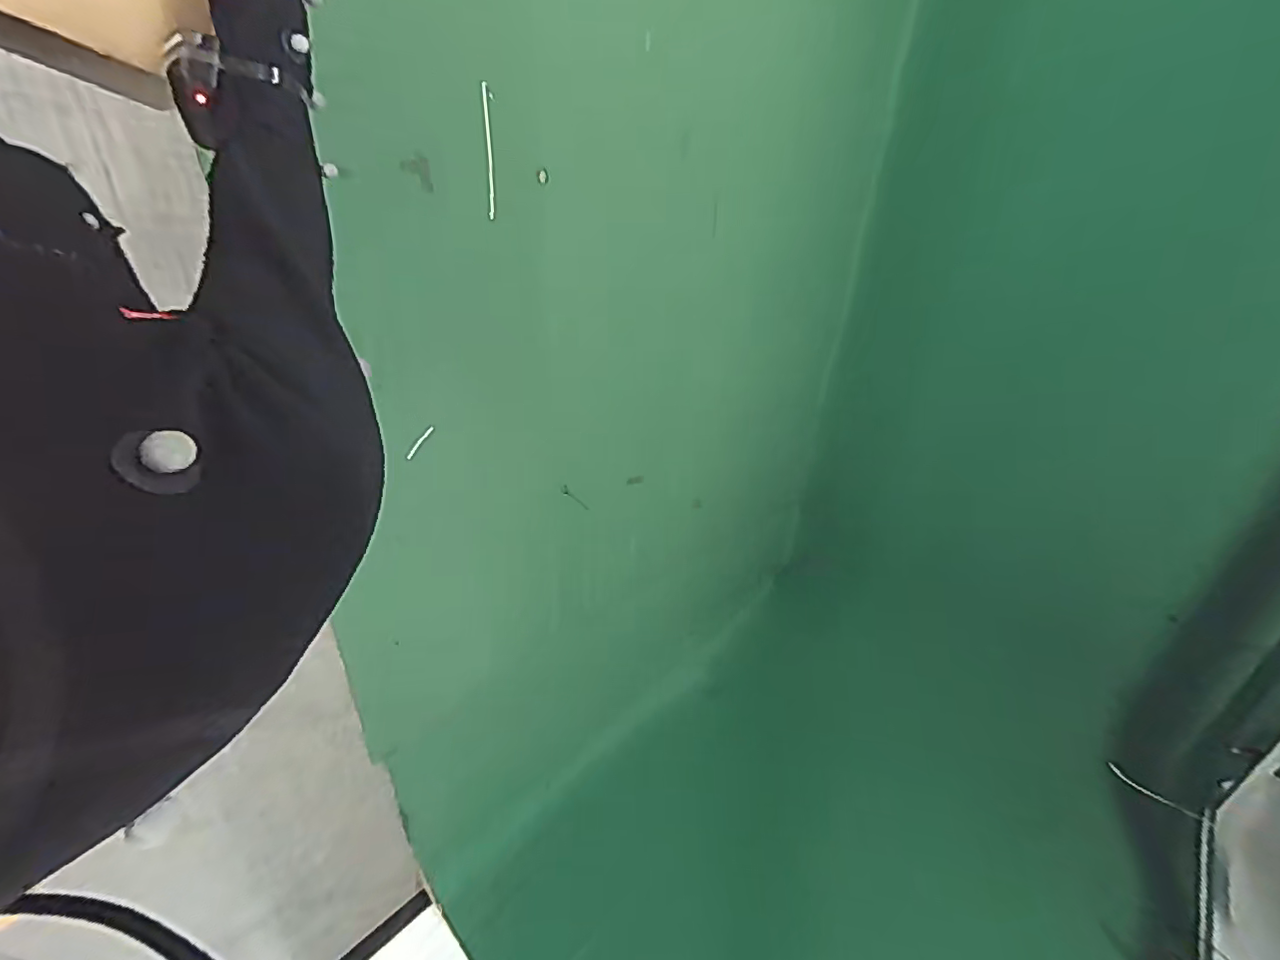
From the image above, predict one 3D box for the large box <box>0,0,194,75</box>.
[{"bbox_3d":[-0.570,-0.546,0.363,0.408,0.320,0.320,1,113,-48],"label":"large box"}]
